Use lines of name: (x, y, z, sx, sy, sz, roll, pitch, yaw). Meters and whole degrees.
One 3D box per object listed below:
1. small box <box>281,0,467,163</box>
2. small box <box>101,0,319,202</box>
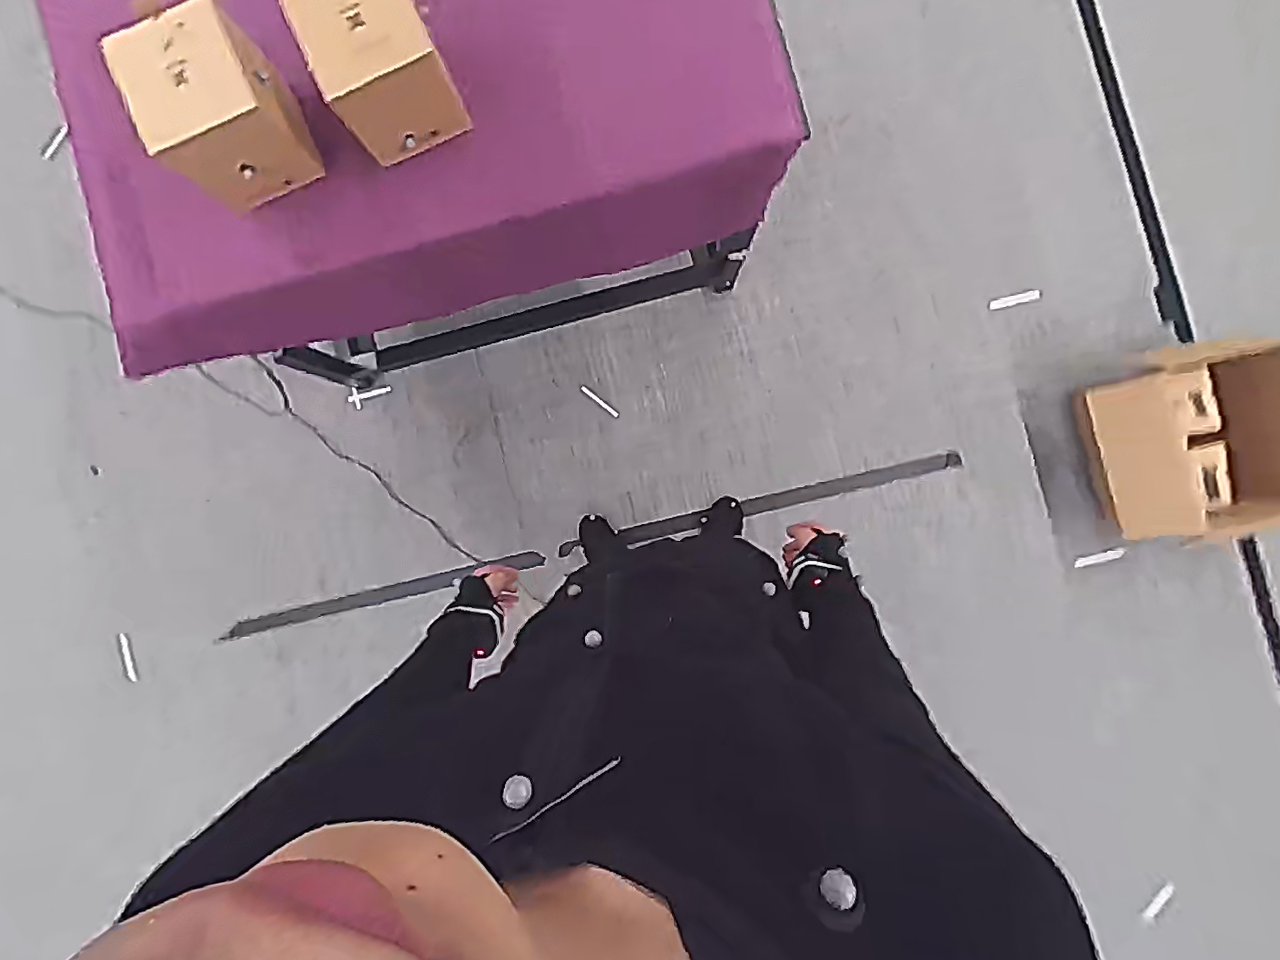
small box: (-0.392, -0.633, 0.820, 0.168, 0.176, 0.179, -25, 89, 2)
small box: (-0.633, -0.558, 0.822, 0.168, 0.176, 0.179, -24, 89, 0)
